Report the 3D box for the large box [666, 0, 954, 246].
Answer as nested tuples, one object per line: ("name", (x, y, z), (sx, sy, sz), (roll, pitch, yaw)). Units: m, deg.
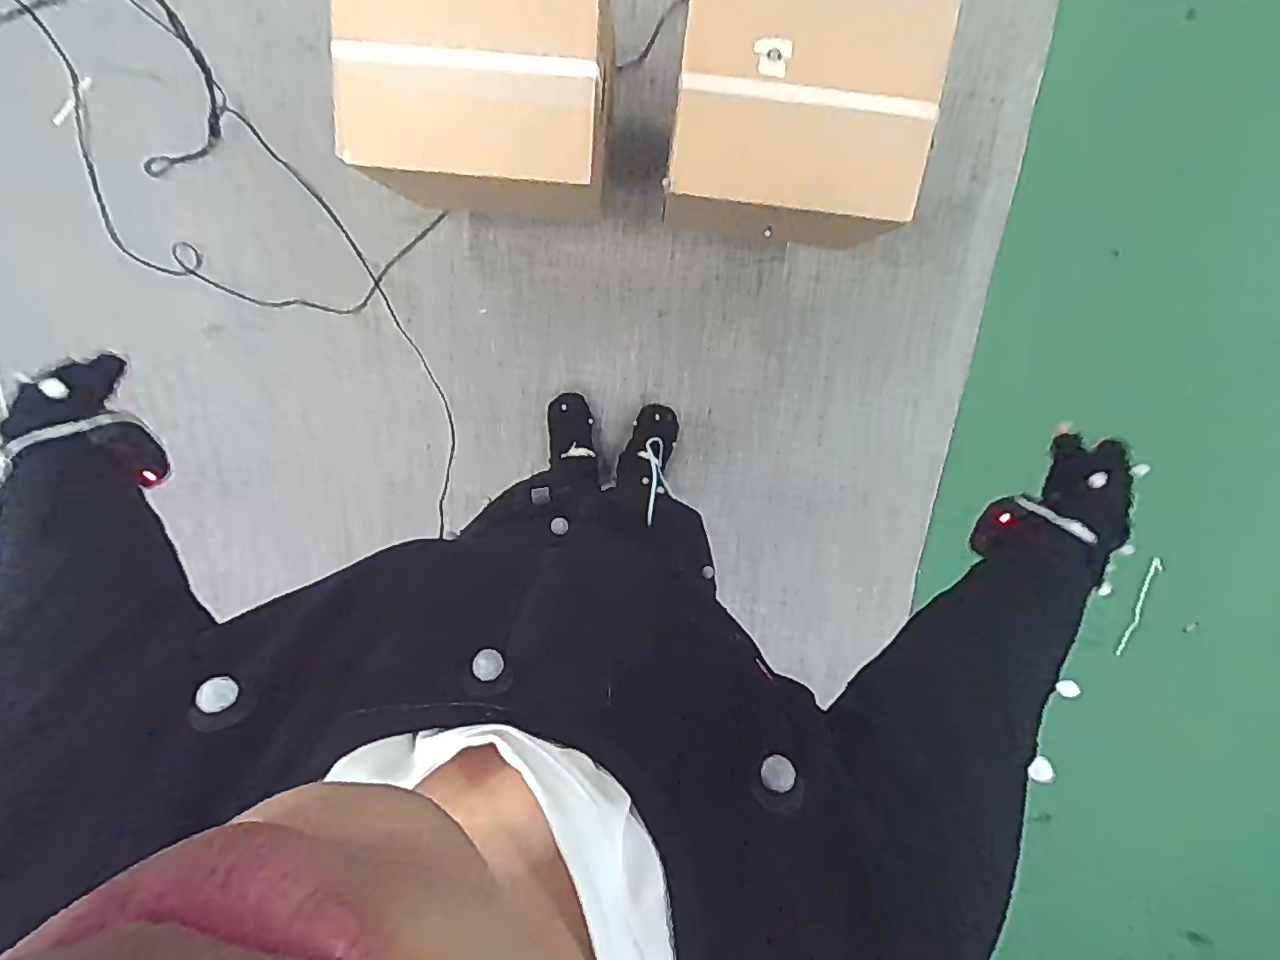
("large box", (0.268, -0.634, 0.998), (0.408, 0.320, 0.320), (7, 105, -1))
